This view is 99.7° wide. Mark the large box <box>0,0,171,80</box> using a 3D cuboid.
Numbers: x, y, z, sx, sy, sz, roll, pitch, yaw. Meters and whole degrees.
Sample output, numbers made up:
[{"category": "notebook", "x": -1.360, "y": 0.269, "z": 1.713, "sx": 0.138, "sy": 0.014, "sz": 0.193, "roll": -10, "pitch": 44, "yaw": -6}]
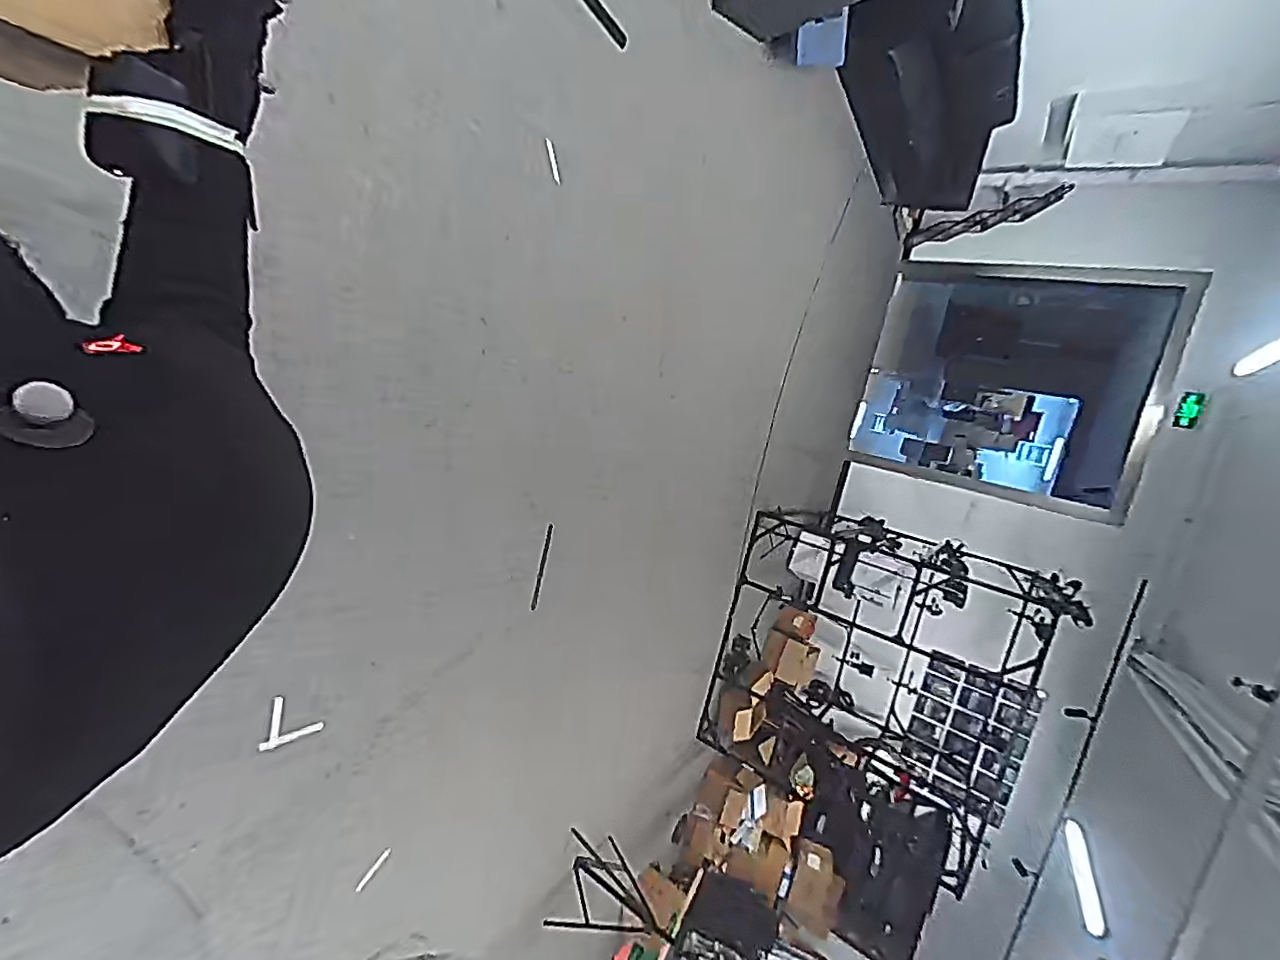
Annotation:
[{"category": "large box", "x": -0.517, "y": -0.452, "z": 0.240, "sx": 0.408, "sy": 0.320, "sz": 0.320, "roll": -8, "pitch": 118, "yaw": -58}]
